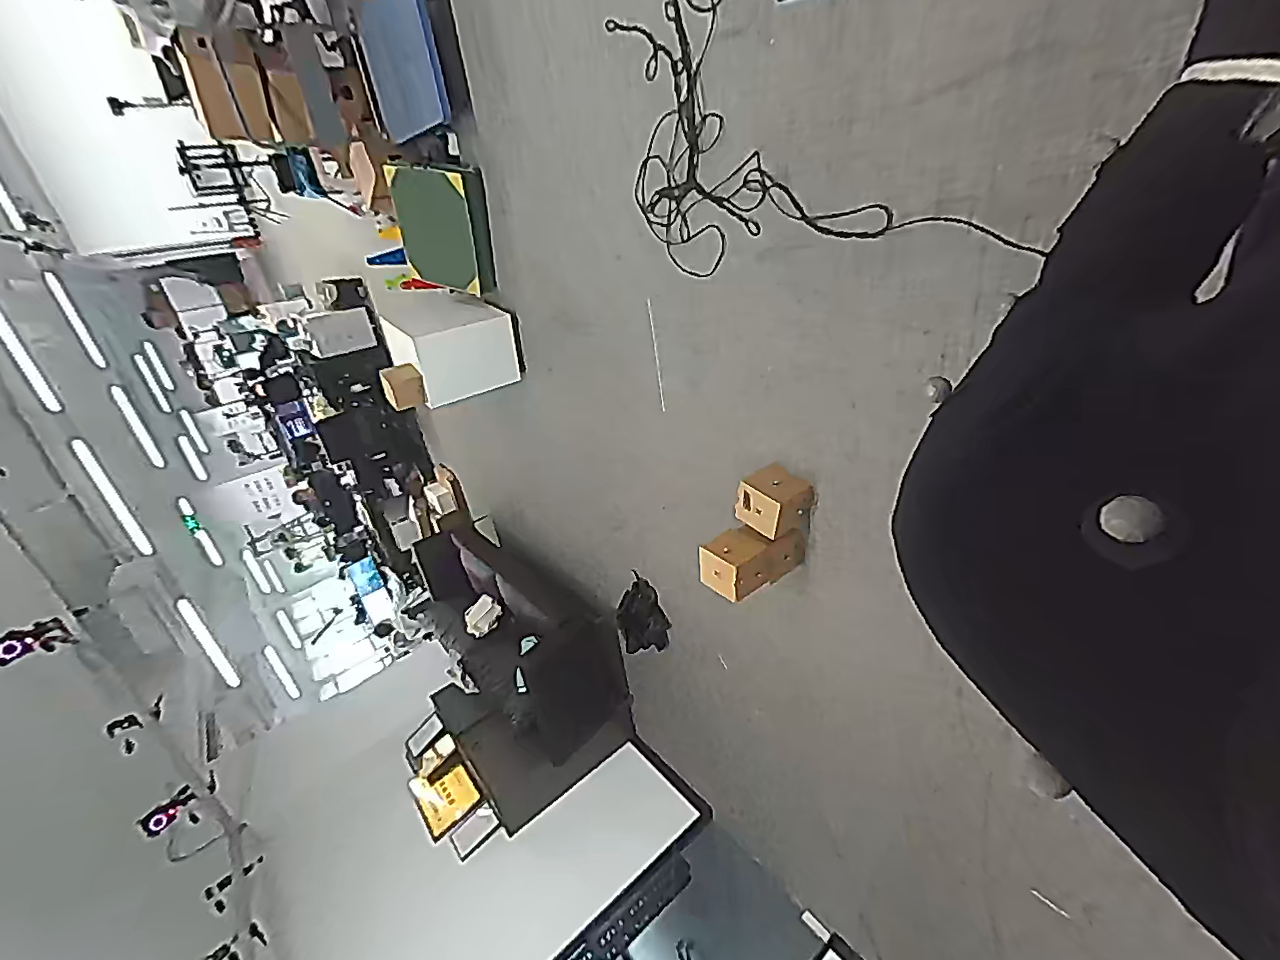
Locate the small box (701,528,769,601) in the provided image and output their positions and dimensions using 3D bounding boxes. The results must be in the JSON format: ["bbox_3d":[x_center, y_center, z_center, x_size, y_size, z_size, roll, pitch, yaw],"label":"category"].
[{"bbox_3d":[0.338,0.293,1.932,0.179,0.176,0.168,27,133,44],"label":"small box"}]

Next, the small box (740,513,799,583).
[{"bbox_3d":[0.474,0.246,2.011,0.179,0.176,0.168,27,134,44],"label":"small box"}]
